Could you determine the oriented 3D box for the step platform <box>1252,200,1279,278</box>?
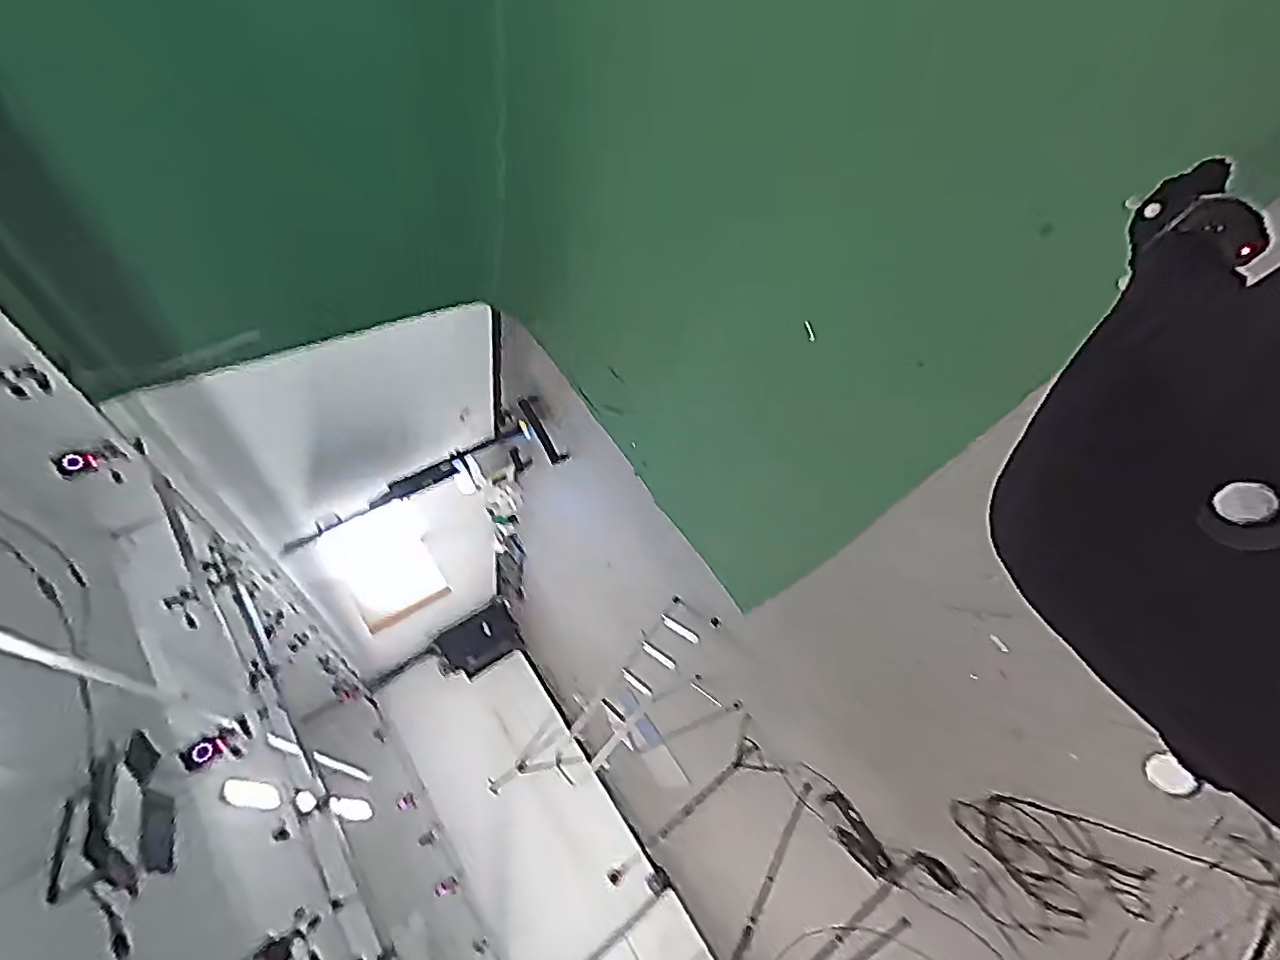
[{"bbox_3d":[1.184,-0.498,0.601,0.286,0.204,0.684,51,151,18],"label":"step platform"}]
